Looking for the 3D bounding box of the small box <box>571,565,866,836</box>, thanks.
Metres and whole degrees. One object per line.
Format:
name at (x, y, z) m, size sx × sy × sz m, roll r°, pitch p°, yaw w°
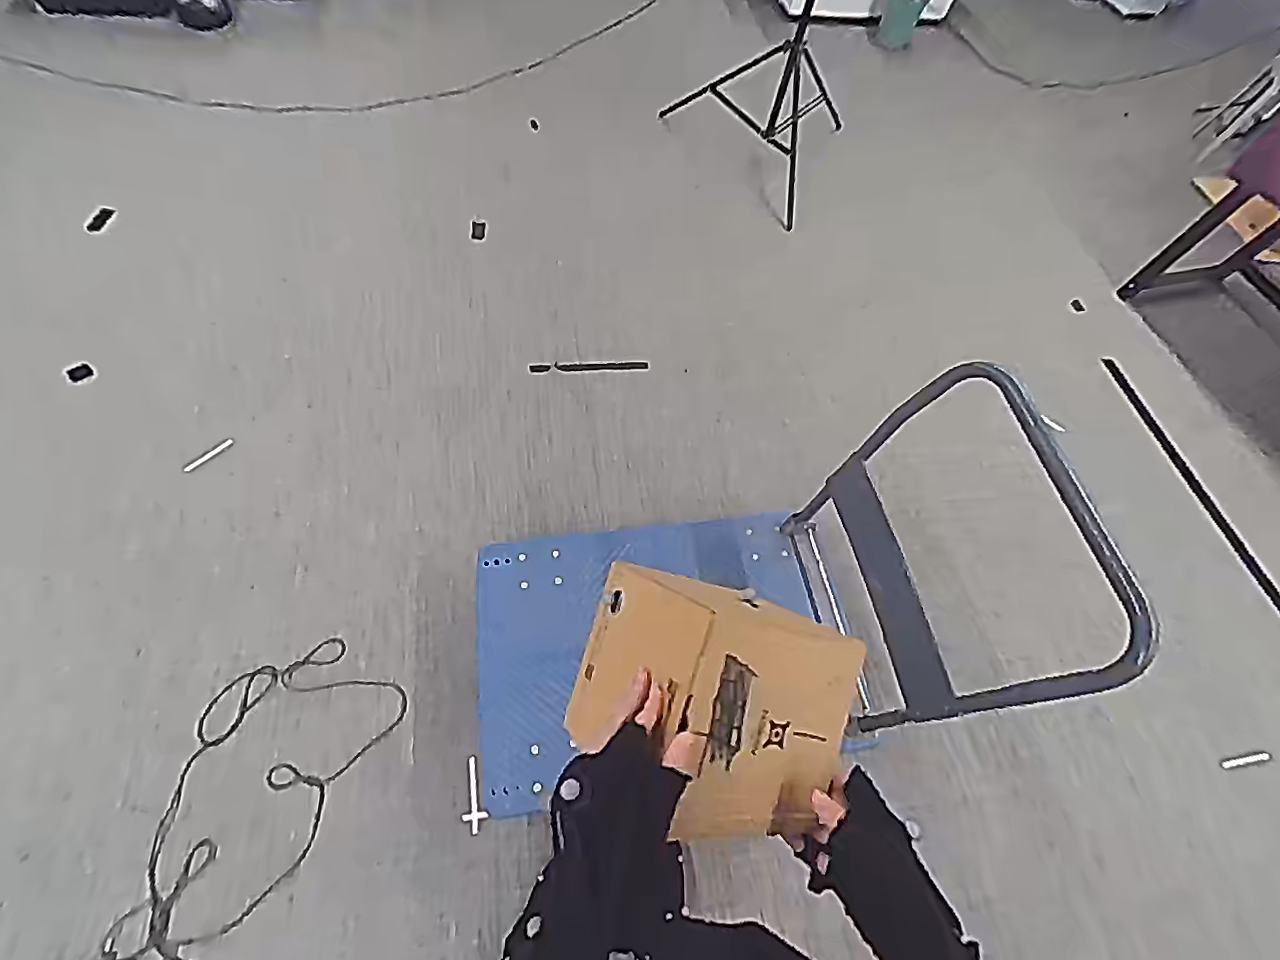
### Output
small box at (0.060, 0.185, 0.487) m, size 0.179 × 0.176 × 0.168 m, roll 20°, pitch 87°, yaw -30°
